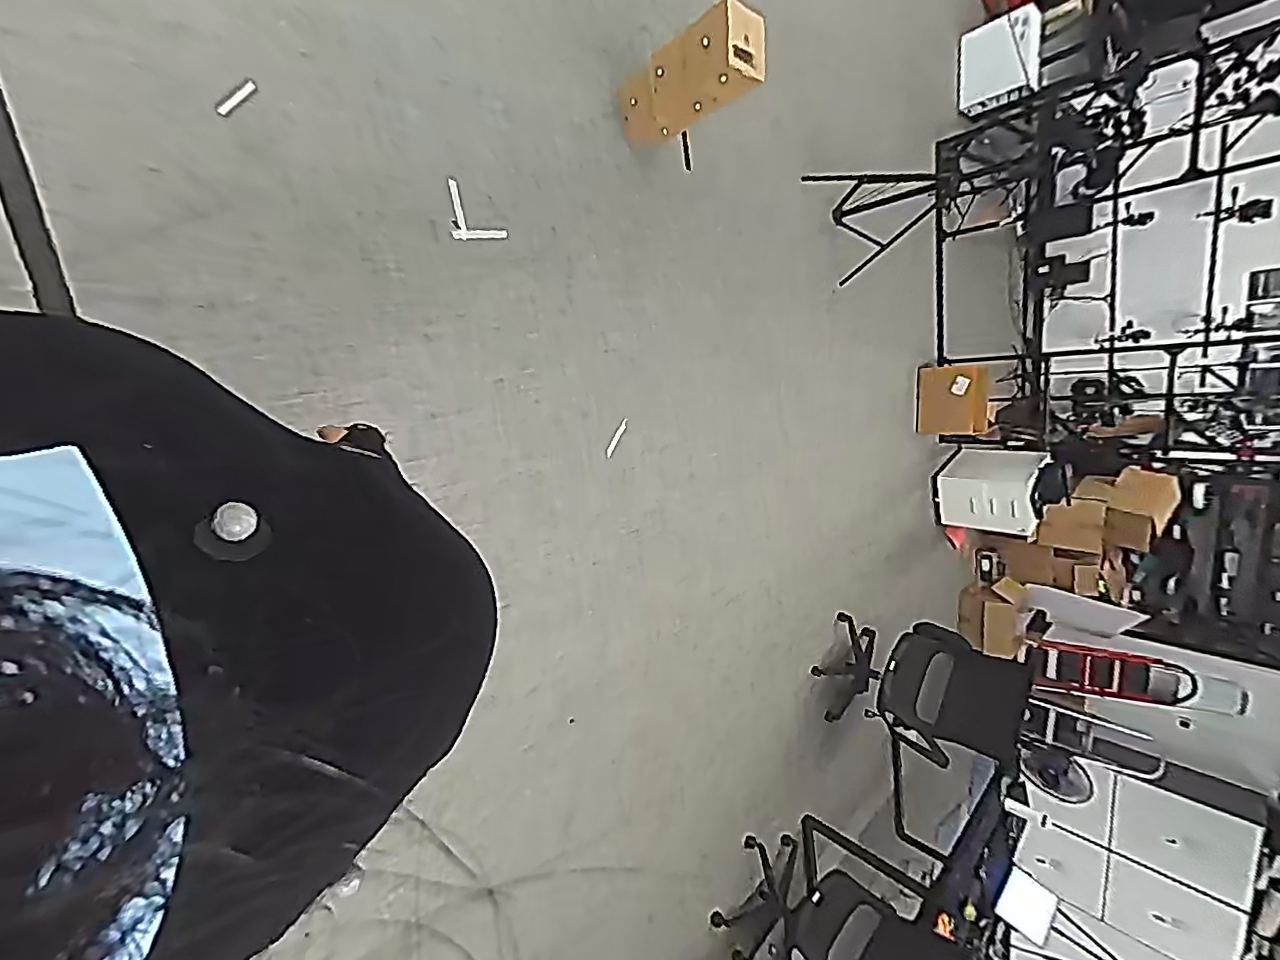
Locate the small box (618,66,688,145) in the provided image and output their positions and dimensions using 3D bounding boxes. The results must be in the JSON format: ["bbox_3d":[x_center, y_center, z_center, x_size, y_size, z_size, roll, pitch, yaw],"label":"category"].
[{"bbox_3d":[0.038,-1.277,1.857,0.179,0.176,0.168,-21,109,-39],"label":"small box"}]

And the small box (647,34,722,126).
[{"bbox_3d":[0.142,-1.269,1.732,0.179,0.176,0.168,-12,103,-40],"label":"small box"}]
